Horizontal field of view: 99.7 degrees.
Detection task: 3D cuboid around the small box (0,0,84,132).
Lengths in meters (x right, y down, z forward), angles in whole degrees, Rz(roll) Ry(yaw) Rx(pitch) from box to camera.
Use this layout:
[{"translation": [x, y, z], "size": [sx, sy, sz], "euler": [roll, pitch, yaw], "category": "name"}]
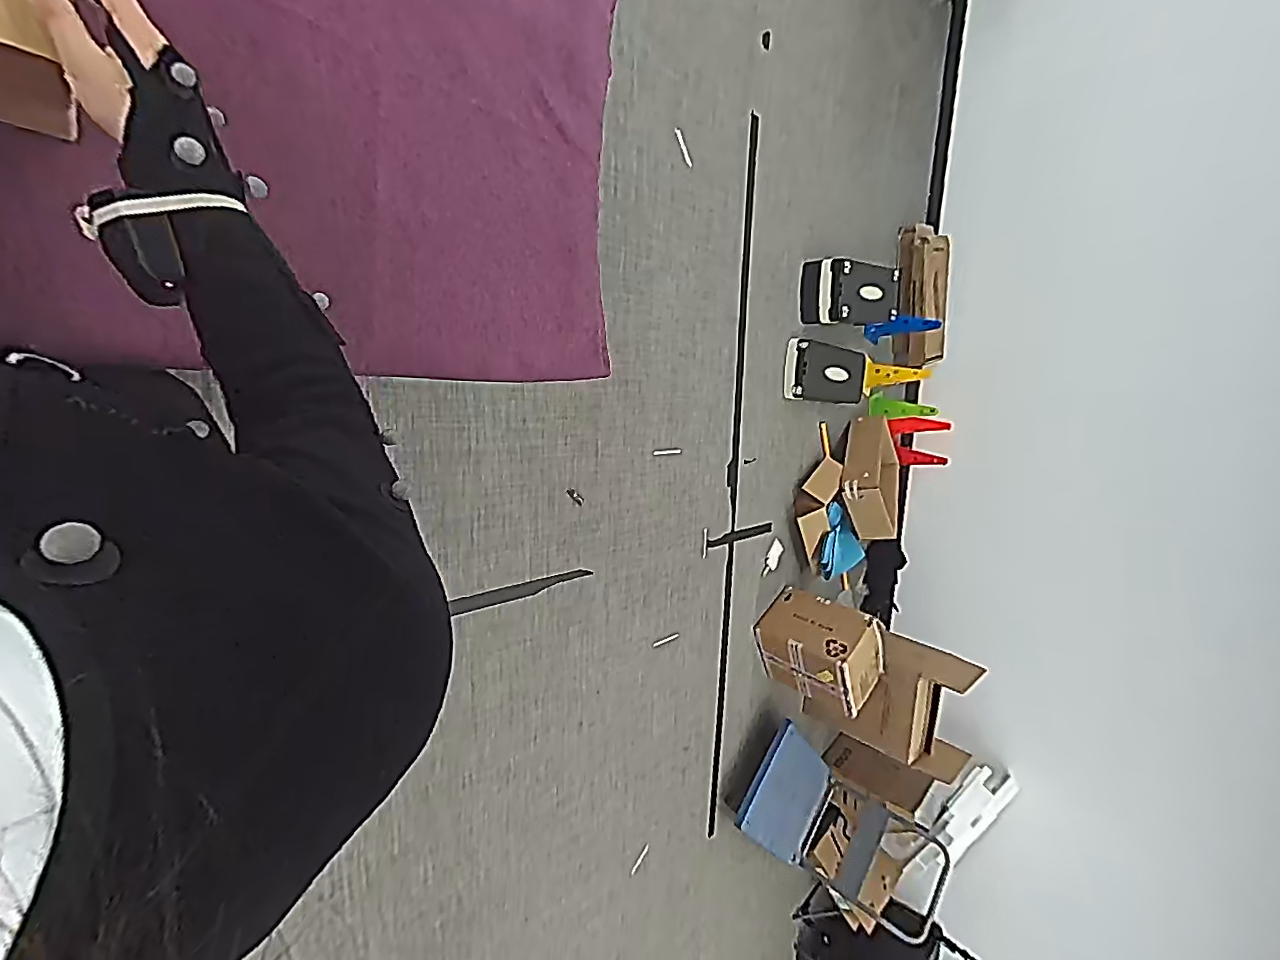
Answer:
[{"translation": [-0.456, -0.355, 0.325], "size": [0.168, 0.176, 0.179], "euler": [-1, 100, -45], "category": "small box"}]
